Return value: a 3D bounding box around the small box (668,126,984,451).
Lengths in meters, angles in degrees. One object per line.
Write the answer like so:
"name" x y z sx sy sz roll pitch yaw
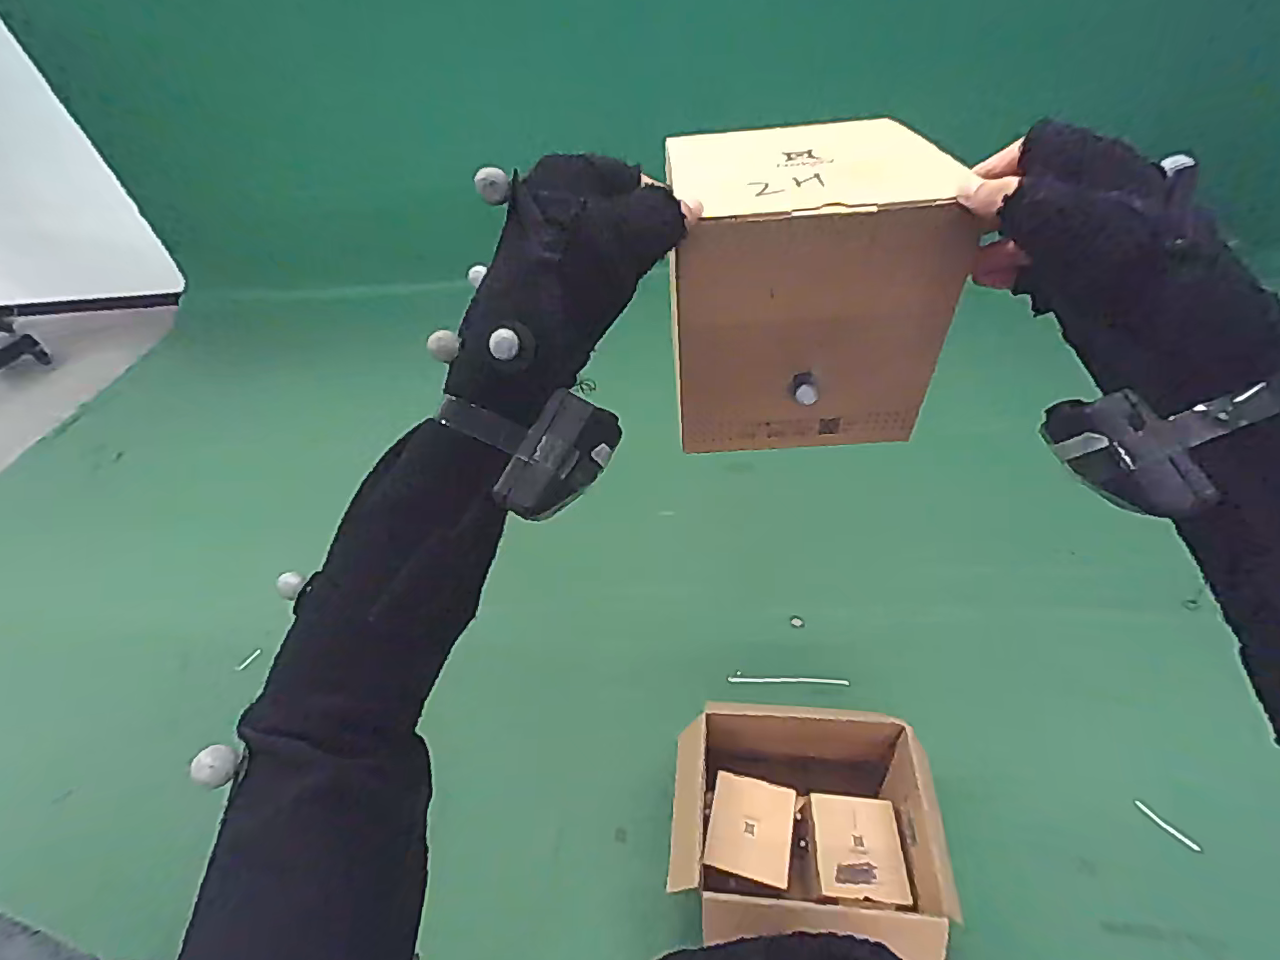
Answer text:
"small box" 0.104 -0.140 0.400 0.168 0.176 0.179 -3 45 3
